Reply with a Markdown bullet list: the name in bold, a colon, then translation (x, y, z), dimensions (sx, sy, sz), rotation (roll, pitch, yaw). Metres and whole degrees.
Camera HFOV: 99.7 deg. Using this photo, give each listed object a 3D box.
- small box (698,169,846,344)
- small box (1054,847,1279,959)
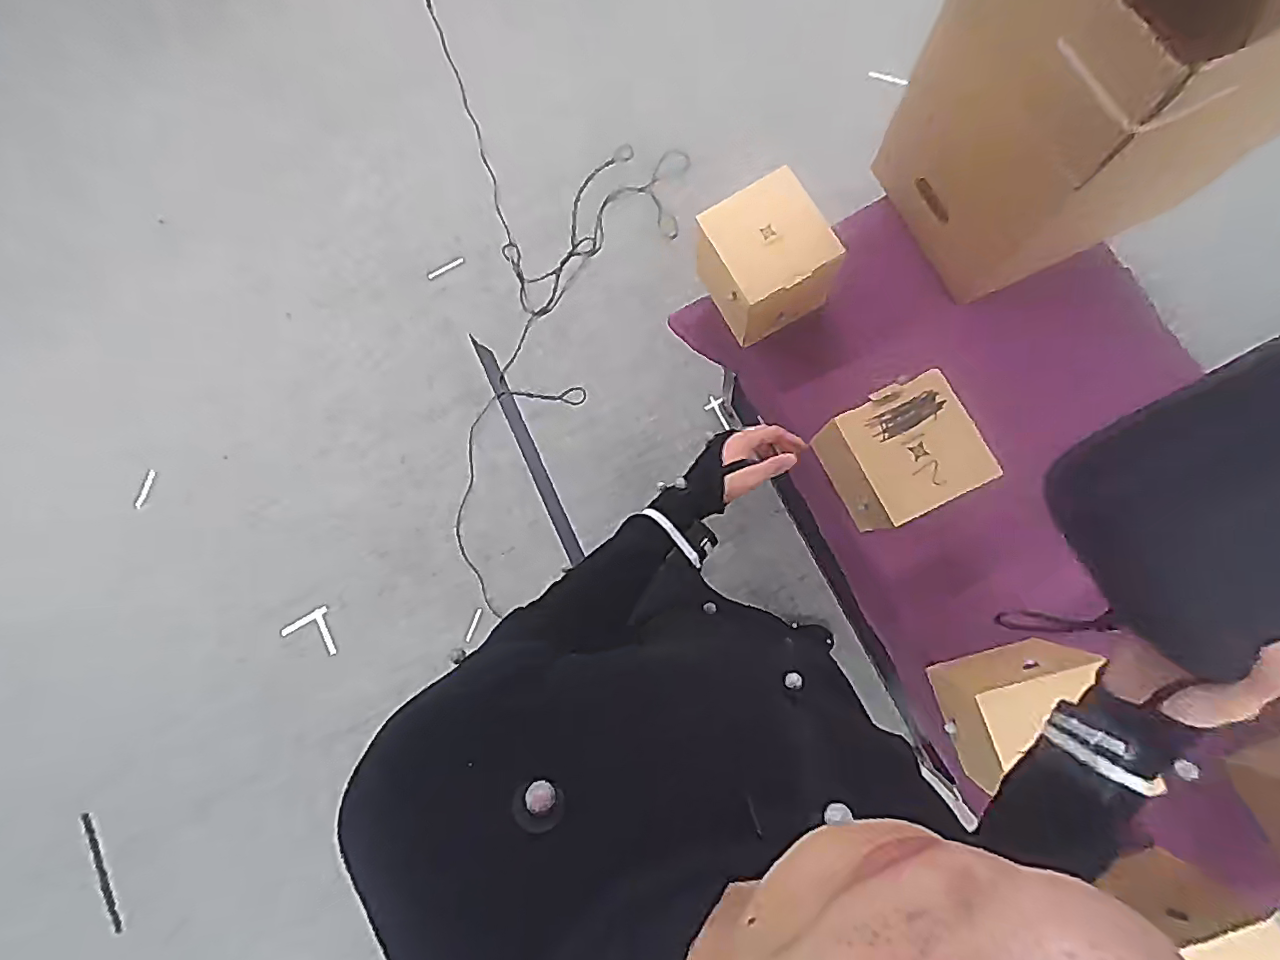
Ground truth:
- **small box**: translation (0.207, -0.360, 0.902), dimensions (0.168, 0.176, 0.179), rotation (-30, 81, 2)
- **small box**: translation (0.704, 0.622, 0.702), dimensions (0.179, 0.176, 0.168), rotation (-22, 79, 3)
